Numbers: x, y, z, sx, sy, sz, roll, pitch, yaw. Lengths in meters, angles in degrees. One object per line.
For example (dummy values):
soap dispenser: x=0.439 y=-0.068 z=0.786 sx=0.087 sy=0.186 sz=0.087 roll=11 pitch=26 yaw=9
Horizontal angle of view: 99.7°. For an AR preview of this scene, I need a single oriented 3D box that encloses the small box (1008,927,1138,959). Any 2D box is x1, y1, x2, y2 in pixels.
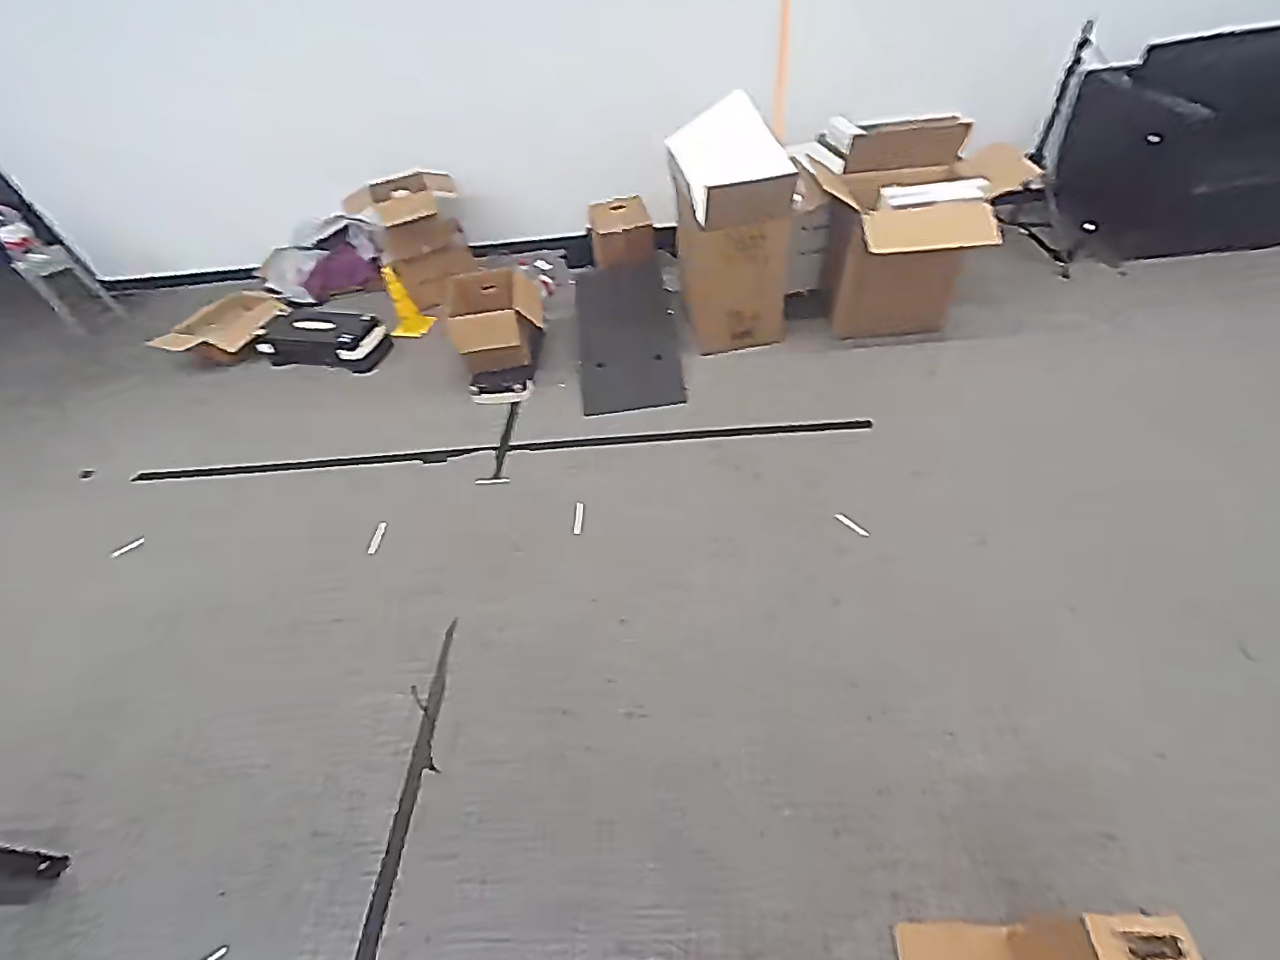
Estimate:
small box: x=0.877 y=1.005 z=1.070 sx=0.168 sy=0.176 sz=0.179 roll=-2 pitch=47 yaw=5
